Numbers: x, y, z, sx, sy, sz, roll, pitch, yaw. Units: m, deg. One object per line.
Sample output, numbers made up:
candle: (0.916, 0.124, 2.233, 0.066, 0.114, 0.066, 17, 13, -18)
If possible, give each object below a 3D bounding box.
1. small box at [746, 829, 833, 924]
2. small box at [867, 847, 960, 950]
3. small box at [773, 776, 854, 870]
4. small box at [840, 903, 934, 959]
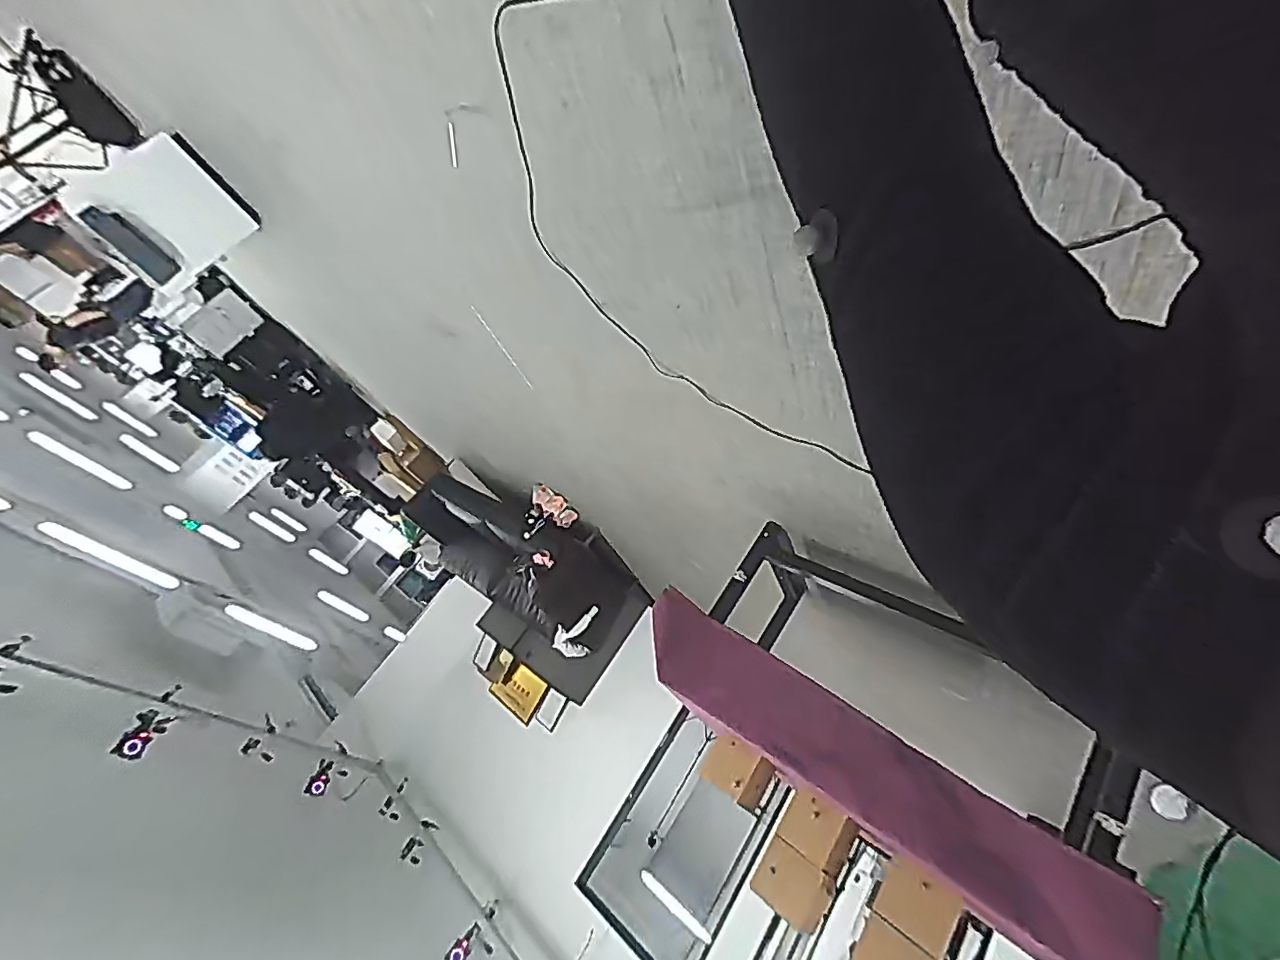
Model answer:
small box: (0.459, 1.199, 1.648, 0.179, 0.176, 0.168, 18, 155, 43)
small box: (0.764, 1.159, 1.509, 0.179, 0.176, 0.168, 21, 156, 41)
small box: (0.552, 1.077, 1.704, 0.168, 0.176, 0.179, 17, 152, 45)
small box: (0.668, 1.283, 1.458, 0.179, 0.176, 0.168, 20, 155, 40)
